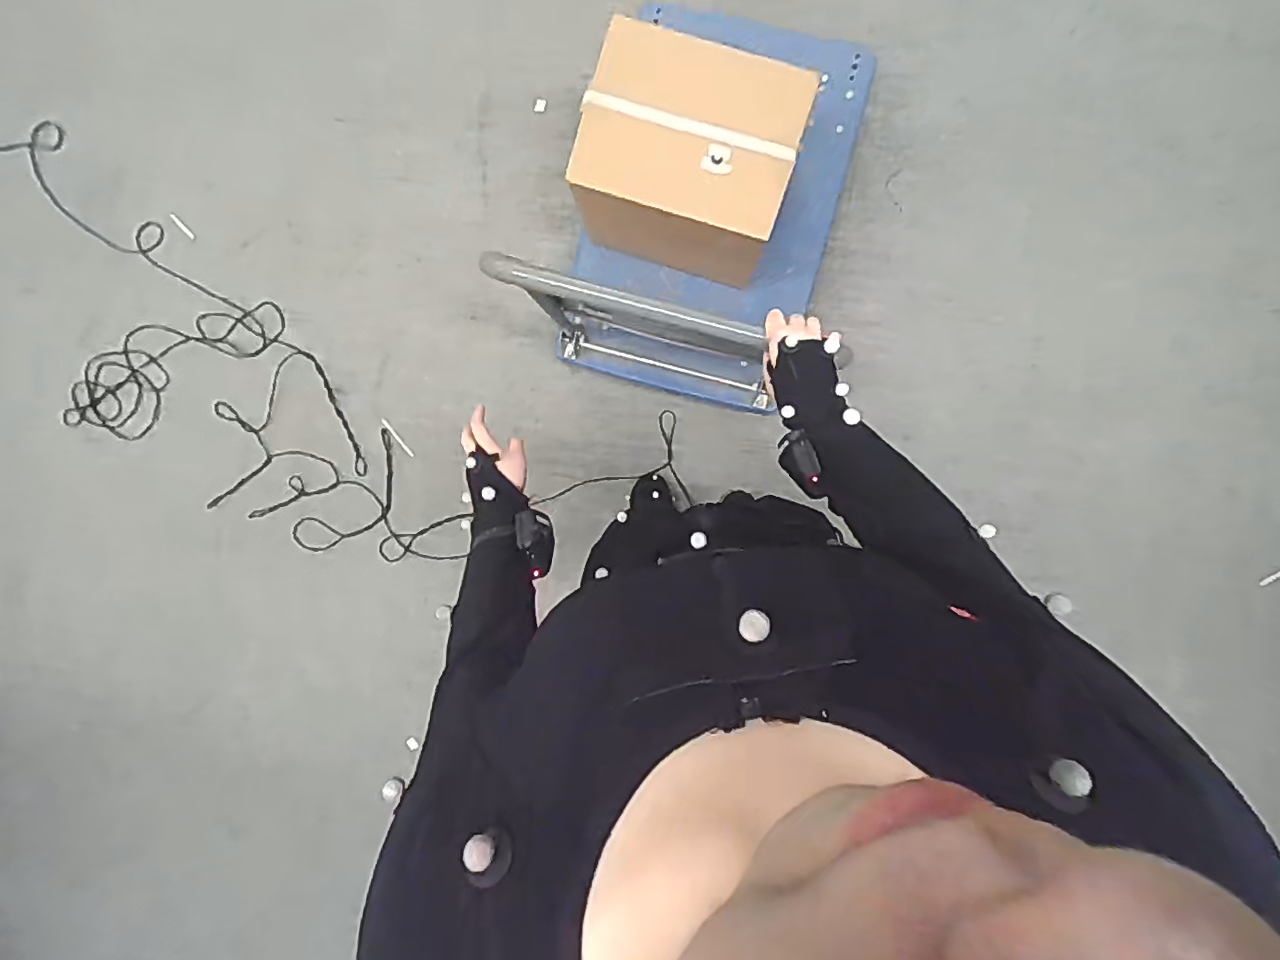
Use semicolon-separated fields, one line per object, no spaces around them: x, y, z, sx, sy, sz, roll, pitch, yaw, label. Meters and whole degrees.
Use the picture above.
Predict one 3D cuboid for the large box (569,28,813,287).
0.098;-0.662;1.172;0.408;0.320;0.320;17;94;2;large box
